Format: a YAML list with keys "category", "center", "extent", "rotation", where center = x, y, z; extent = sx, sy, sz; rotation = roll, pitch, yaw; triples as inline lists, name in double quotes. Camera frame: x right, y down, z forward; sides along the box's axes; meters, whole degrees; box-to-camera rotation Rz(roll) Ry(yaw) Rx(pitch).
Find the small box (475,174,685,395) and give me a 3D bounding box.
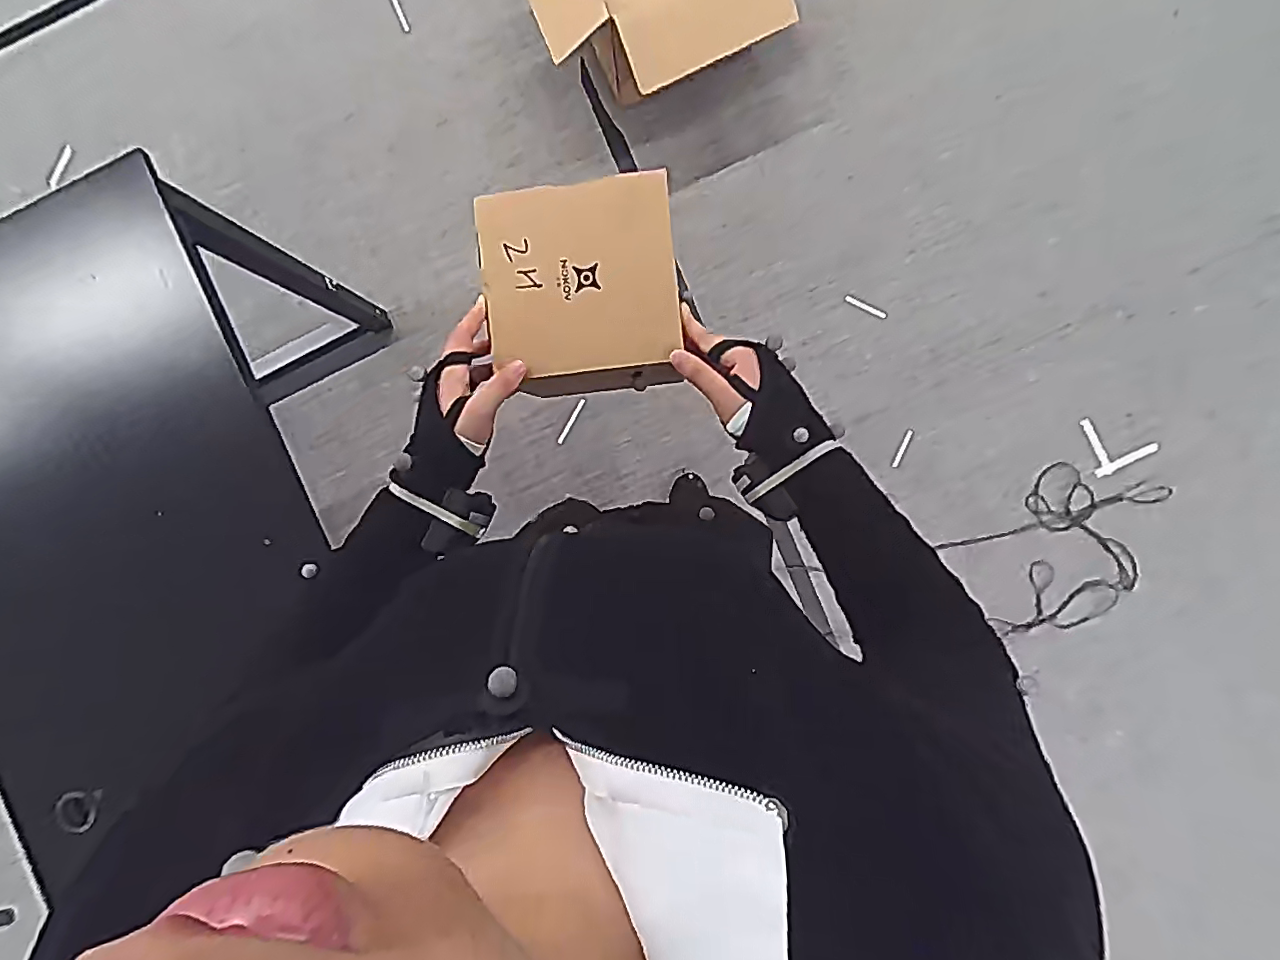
- category: "small box"
  center: [-0.049, -0.184, 0.560]
  extent: [0.179, 0.176, 0.168]
  rotation: [-6, 93, 6]
